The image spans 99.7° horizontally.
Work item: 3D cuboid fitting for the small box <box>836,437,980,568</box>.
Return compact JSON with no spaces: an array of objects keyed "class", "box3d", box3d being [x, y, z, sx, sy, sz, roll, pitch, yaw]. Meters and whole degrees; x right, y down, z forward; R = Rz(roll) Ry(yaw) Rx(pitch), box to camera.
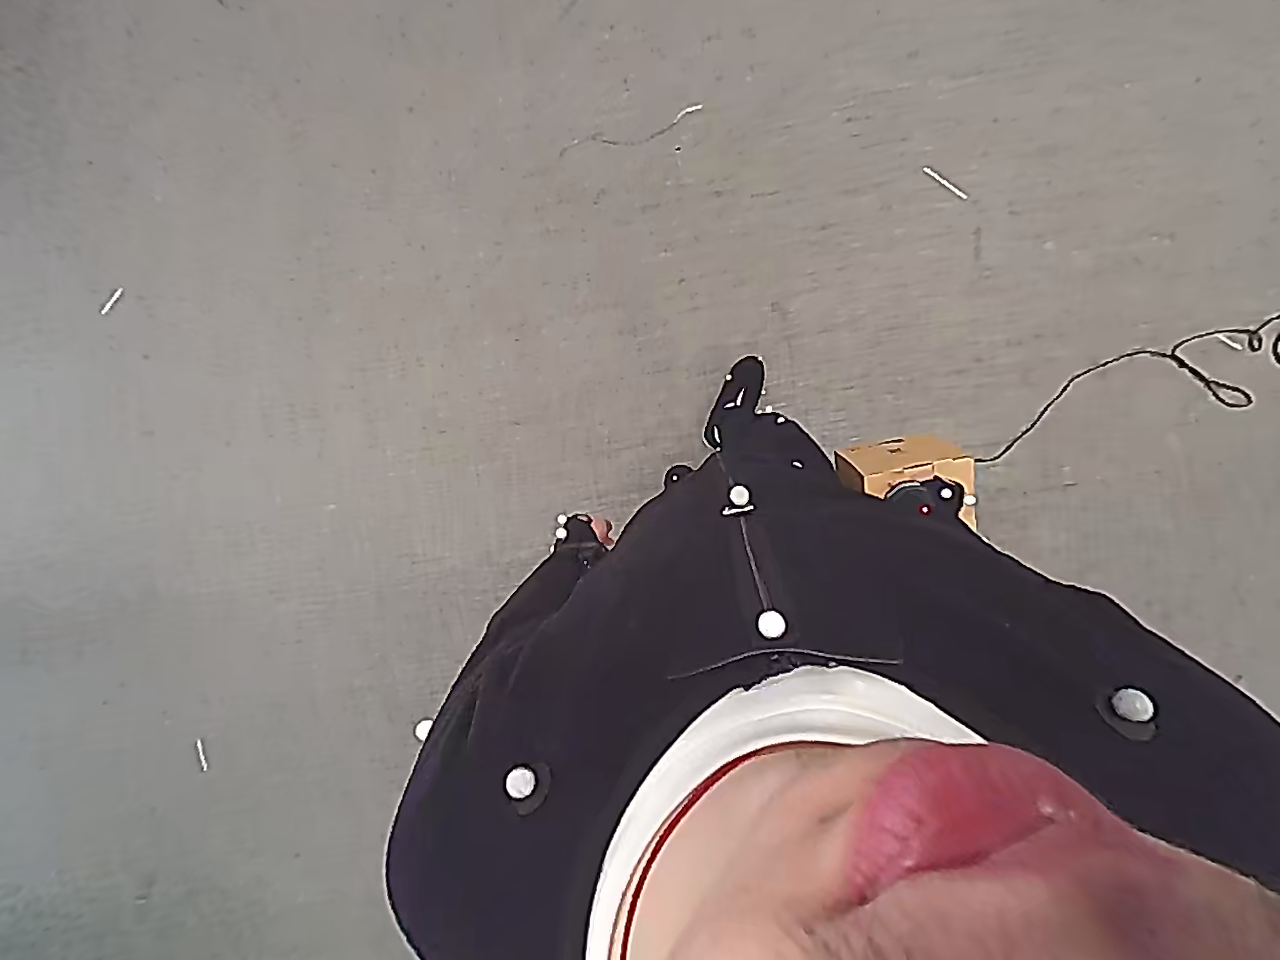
[{"class":"small box","box3d":[0.455,0.041,0.929,0.168,0.179,0.176,-12,105,6]}]
